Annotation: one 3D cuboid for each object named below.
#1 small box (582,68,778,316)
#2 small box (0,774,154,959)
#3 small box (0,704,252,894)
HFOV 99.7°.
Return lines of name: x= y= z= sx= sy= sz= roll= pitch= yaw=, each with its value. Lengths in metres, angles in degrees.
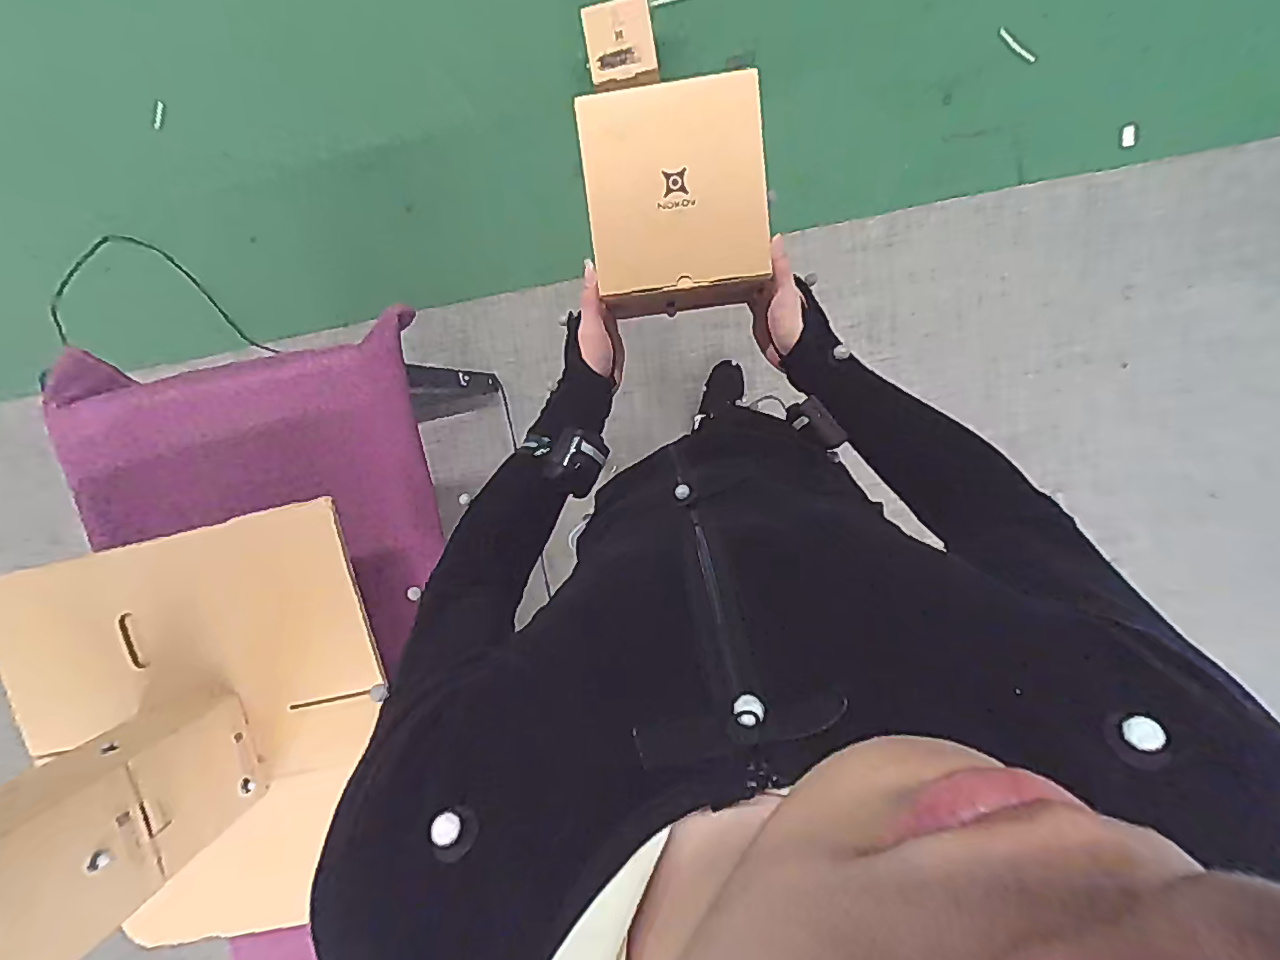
small box: x=0.039 y=-0.280 z=0.566 sx=0.168 sy=0.176 sz=0.179 roll=-7 pitch=101 yaw=4
small box: x=-0.690 y=0.449 z=0.576 sx=0.179 sy=0.176 sz=0.168 roll=-13 pitch=95 yaw=5
small box: x=-0.675 y=0.431 z=0.738 sx=0.179 sy=0.176 sz=0.168 roll=-13 pitch=94 yaw=6
